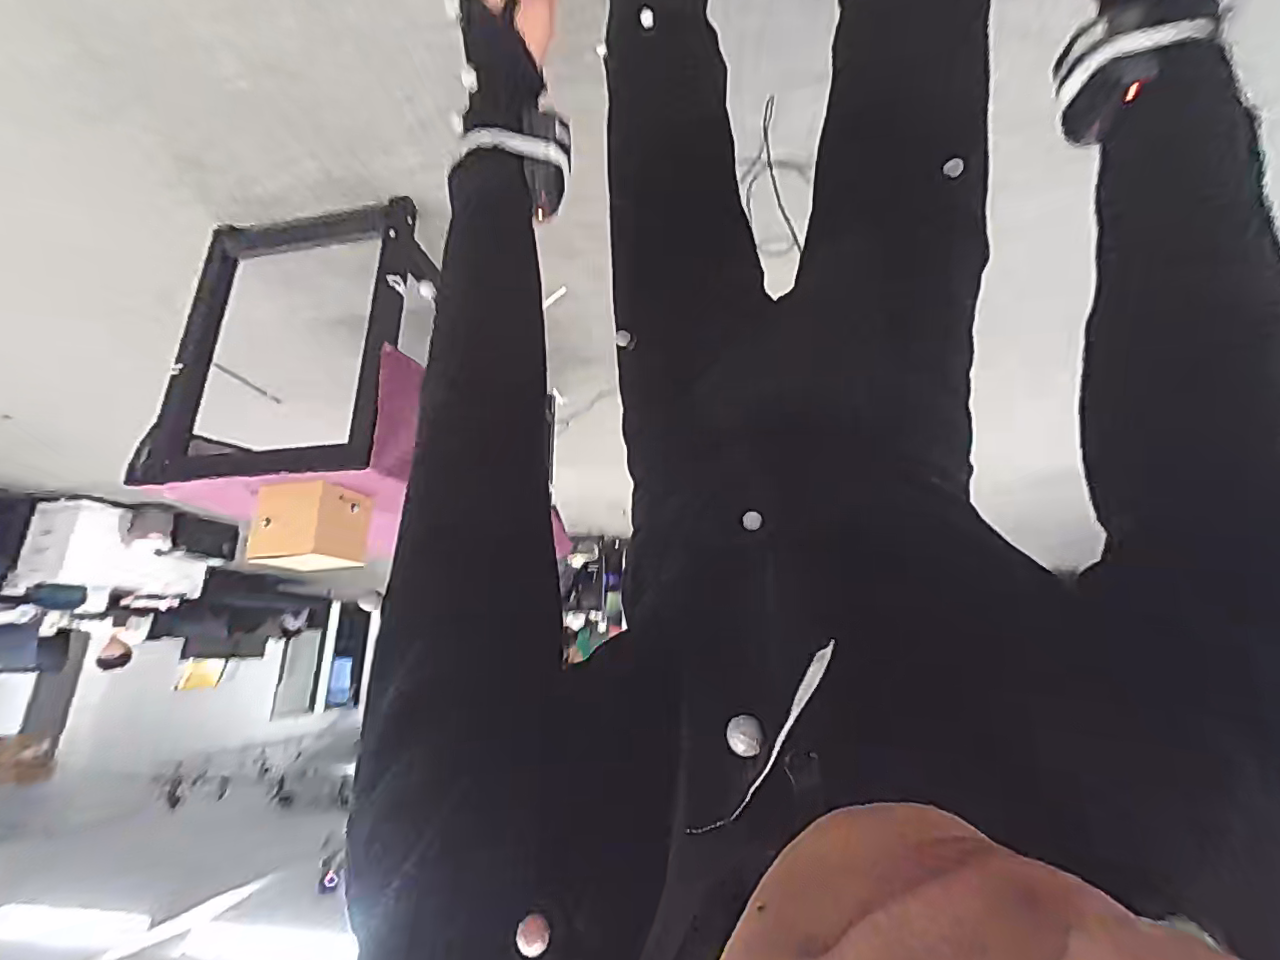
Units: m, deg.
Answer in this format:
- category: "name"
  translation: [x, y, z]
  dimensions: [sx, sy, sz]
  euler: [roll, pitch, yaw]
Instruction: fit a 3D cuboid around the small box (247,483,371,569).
- category: "small box"
  translation: [-0.761, 0.110, 1.262]
  dimensions: [0.179, 0.176, 0.168]
  euler: [-5, 163, 12]
